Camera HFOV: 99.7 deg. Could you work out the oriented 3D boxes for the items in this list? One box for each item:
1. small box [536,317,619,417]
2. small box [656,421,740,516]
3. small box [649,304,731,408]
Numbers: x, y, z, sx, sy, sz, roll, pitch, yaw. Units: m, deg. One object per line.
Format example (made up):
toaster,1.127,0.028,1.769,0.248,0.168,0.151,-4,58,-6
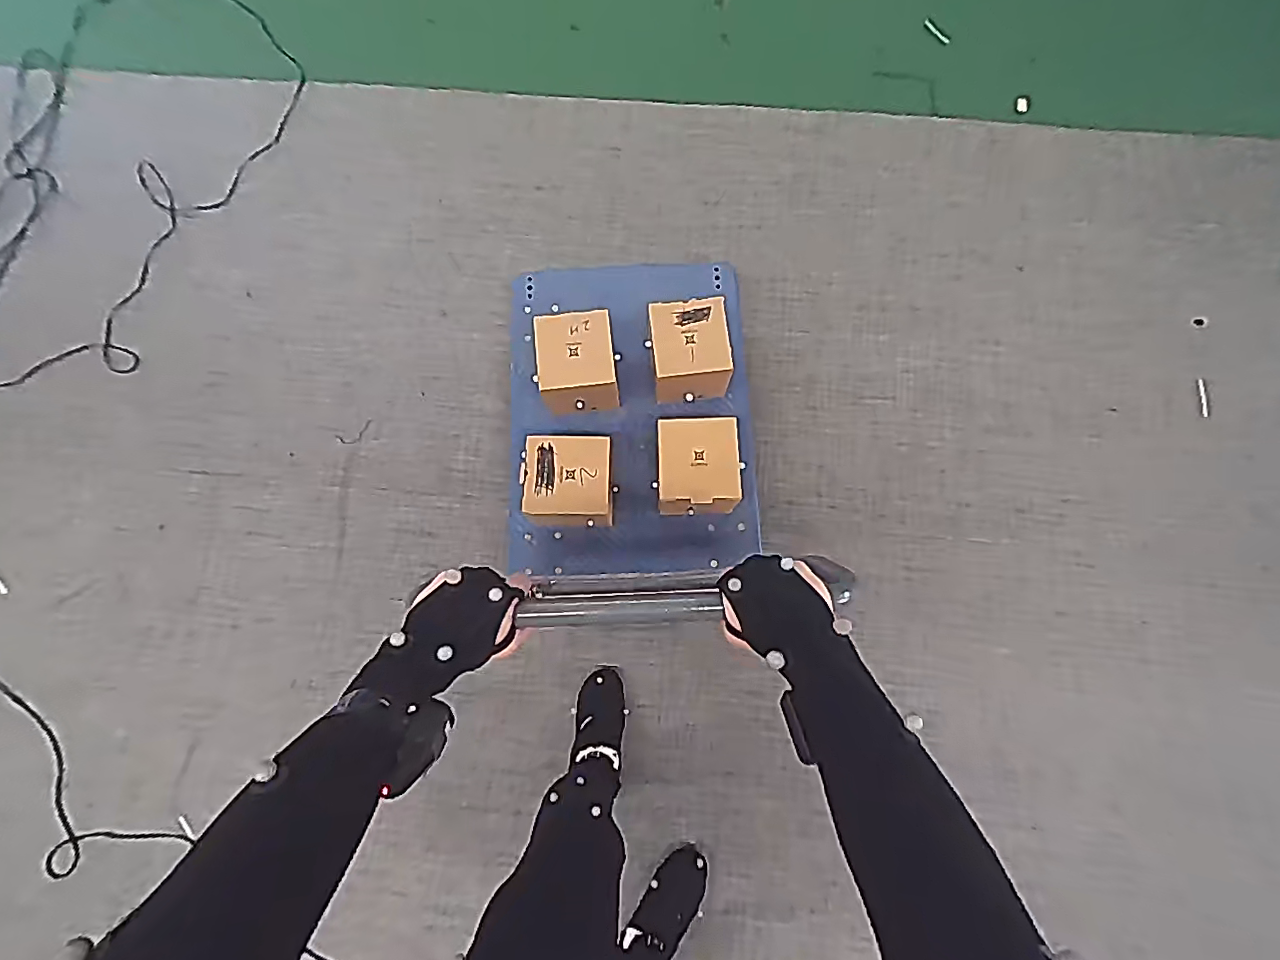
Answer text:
small box,-0.141,-0.255,1.261,0.168,0.176,0.179,-6,77,-1
small box,0.122,-0.020,1.203,0.168,0.176,0.179,-2,77,0
small box,0.109,-0.284,1.262,0.168,0.176,0.179,-6,78,1
